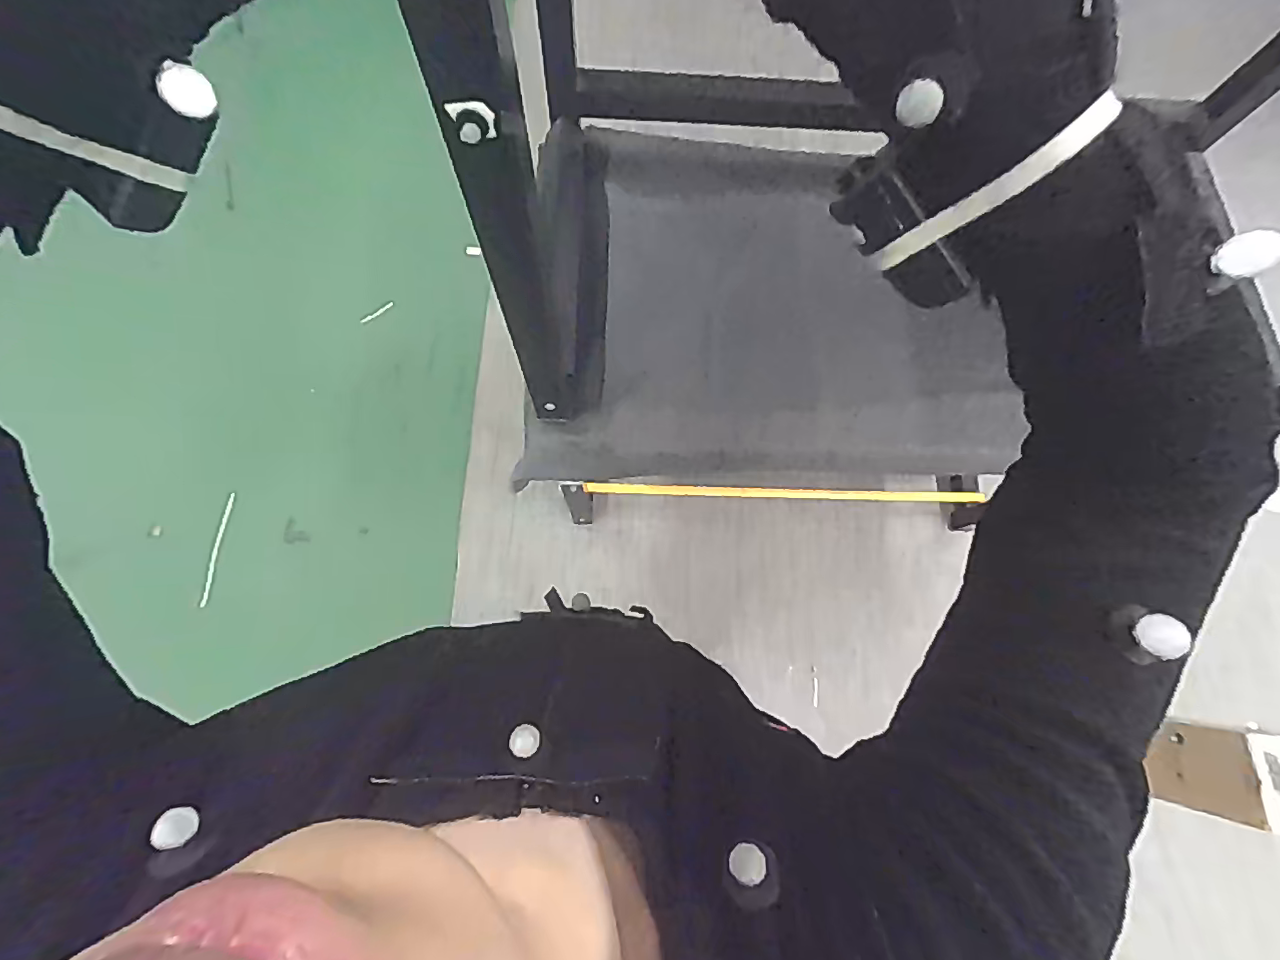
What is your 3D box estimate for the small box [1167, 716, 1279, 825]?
[{"bbox_3d":[1.198,0.567,1.065,0.179,0.176,0.168,5,74,-1],"label":"small box"}]
